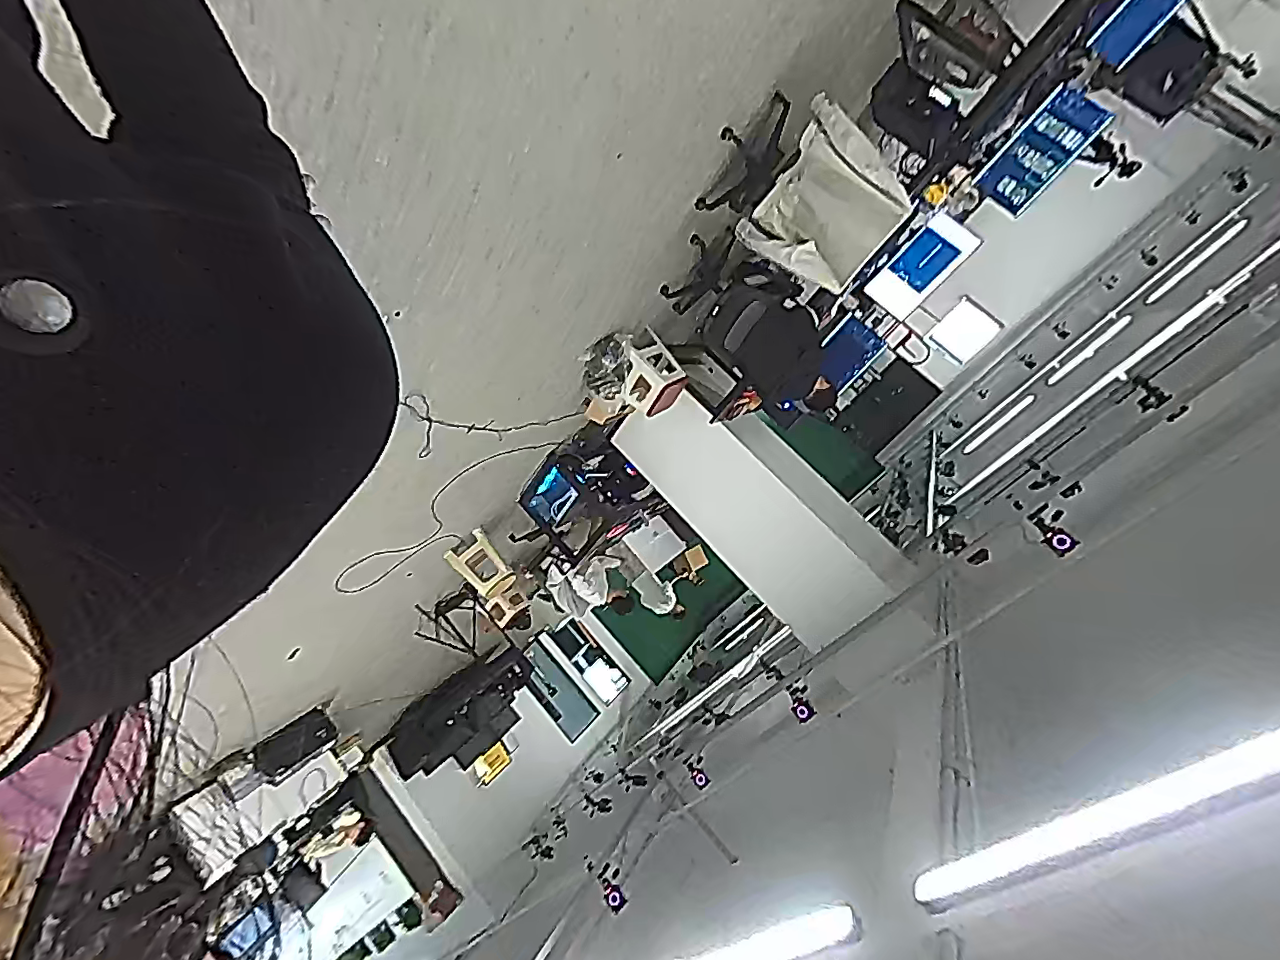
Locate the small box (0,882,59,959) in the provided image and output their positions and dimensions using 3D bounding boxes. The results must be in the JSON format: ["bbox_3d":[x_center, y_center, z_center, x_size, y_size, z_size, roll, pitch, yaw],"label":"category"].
[{"bbox_3d":[-1.386,1.003,1.142,0.179,0.176,0.168,-49,168,28],"label":"small box"}]

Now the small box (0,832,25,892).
[{"bbox_3d":[-1.494,0.883,1.171,0.179,0.176,0.168,-49,168,27],"label":"small box"}]
